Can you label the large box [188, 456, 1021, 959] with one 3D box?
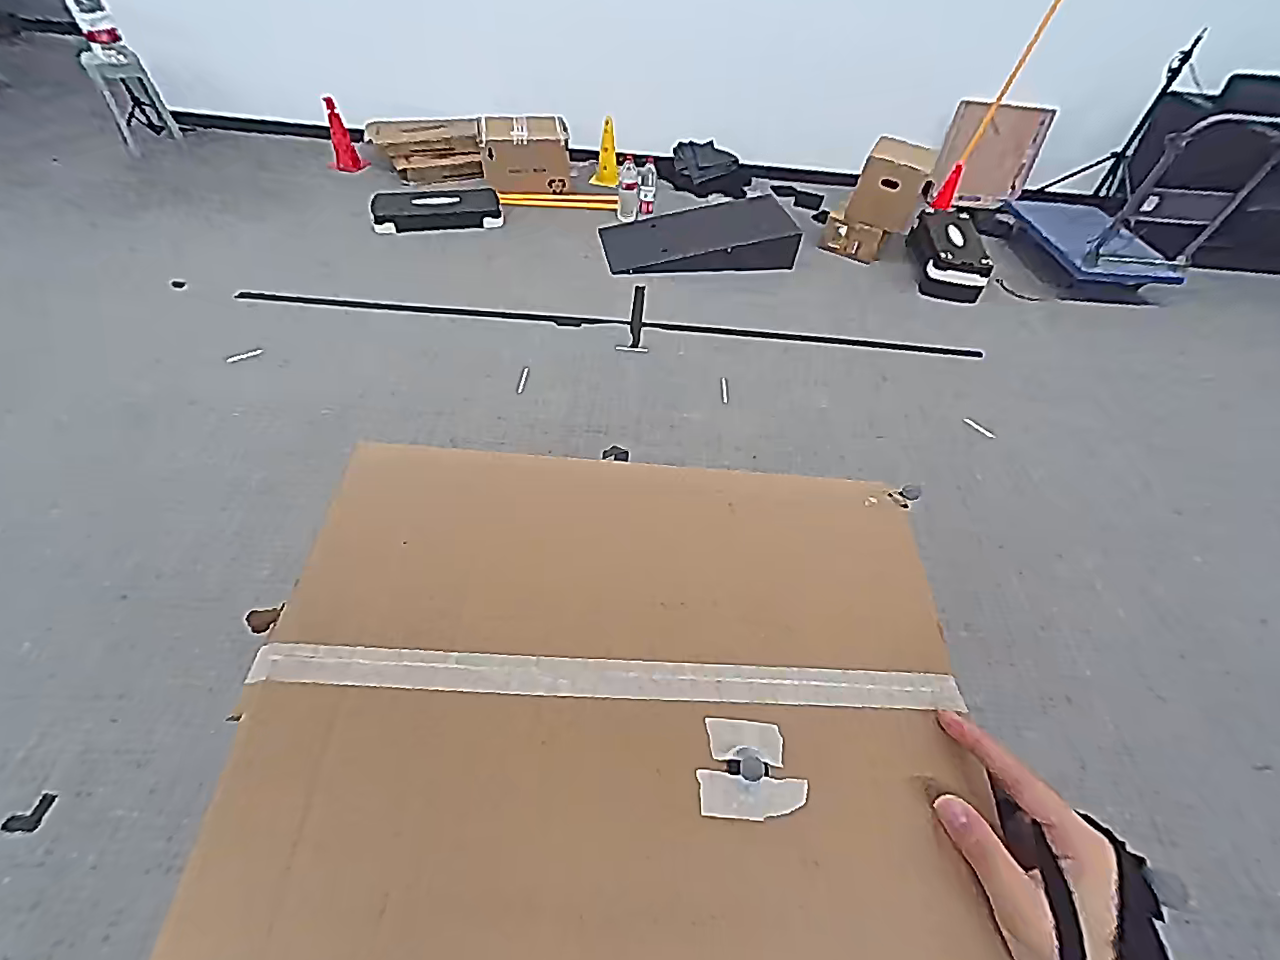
[{"bbox_3d":[-0.021,0.204,0.450,0.408,0.320,0.320,5,57,-5],"label":"large box"}]
